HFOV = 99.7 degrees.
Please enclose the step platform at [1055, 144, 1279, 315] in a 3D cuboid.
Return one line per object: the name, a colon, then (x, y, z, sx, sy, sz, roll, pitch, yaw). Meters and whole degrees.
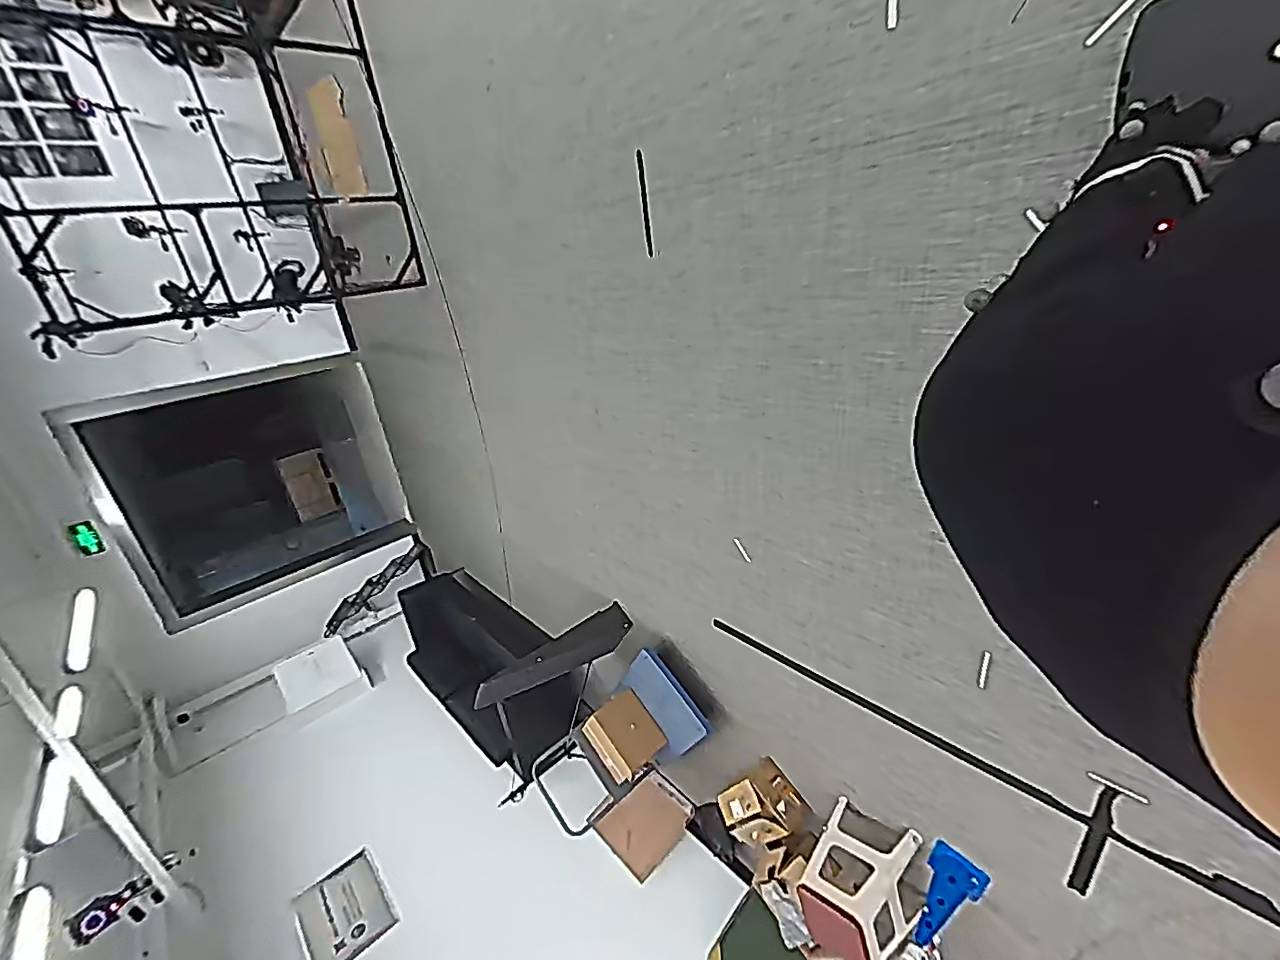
step platform: (1.178, -0.453, 0.971, 0.684, 0.204, 0.286, 18, 124, 47)
